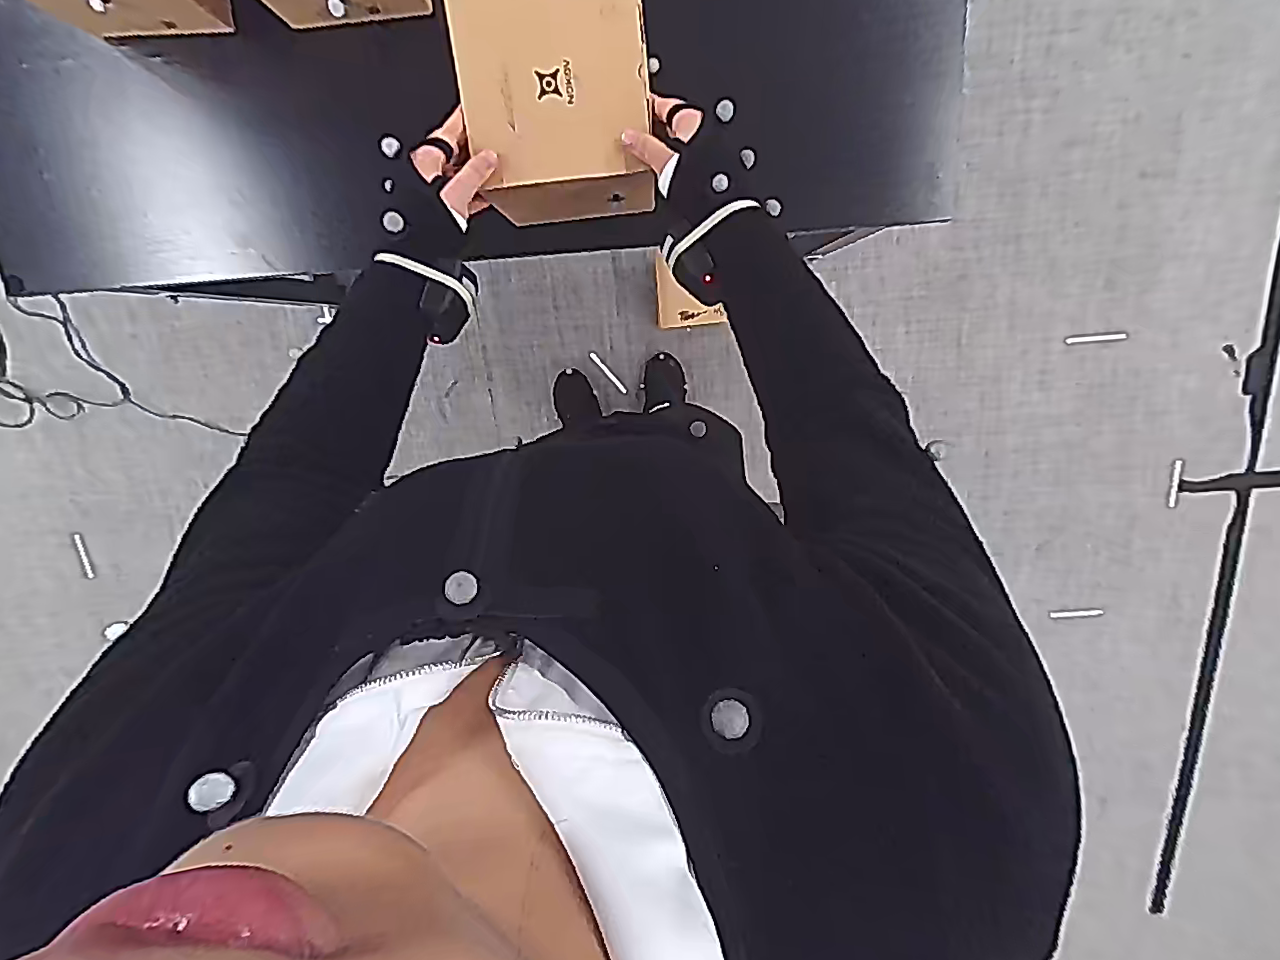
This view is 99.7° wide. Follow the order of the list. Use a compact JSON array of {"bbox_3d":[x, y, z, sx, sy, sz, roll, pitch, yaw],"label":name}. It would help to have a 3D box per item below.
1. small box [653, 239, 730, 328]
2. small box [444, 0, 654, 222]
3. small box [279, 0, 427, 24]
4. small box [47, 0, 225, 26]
[{"bbox_3d":[0.119,-0.465,1.300,0.168,0.176,0.179,-5,104,3],"label":"small box"},{"bbox_3d":[-0.080,-0.385,0.571,0.179,0.176,0.168,-6,103,3],"label":"small box"},{"bbox_3d":[-0.326,-0.589,0.517,0.168,0.176,0.179,-5,106,2],"label":"small box"},{"bbox_3d":[-0.550,-0.578,0.522,0.168,0.176,0.179,-2,105,0],"label":"small box"}]
